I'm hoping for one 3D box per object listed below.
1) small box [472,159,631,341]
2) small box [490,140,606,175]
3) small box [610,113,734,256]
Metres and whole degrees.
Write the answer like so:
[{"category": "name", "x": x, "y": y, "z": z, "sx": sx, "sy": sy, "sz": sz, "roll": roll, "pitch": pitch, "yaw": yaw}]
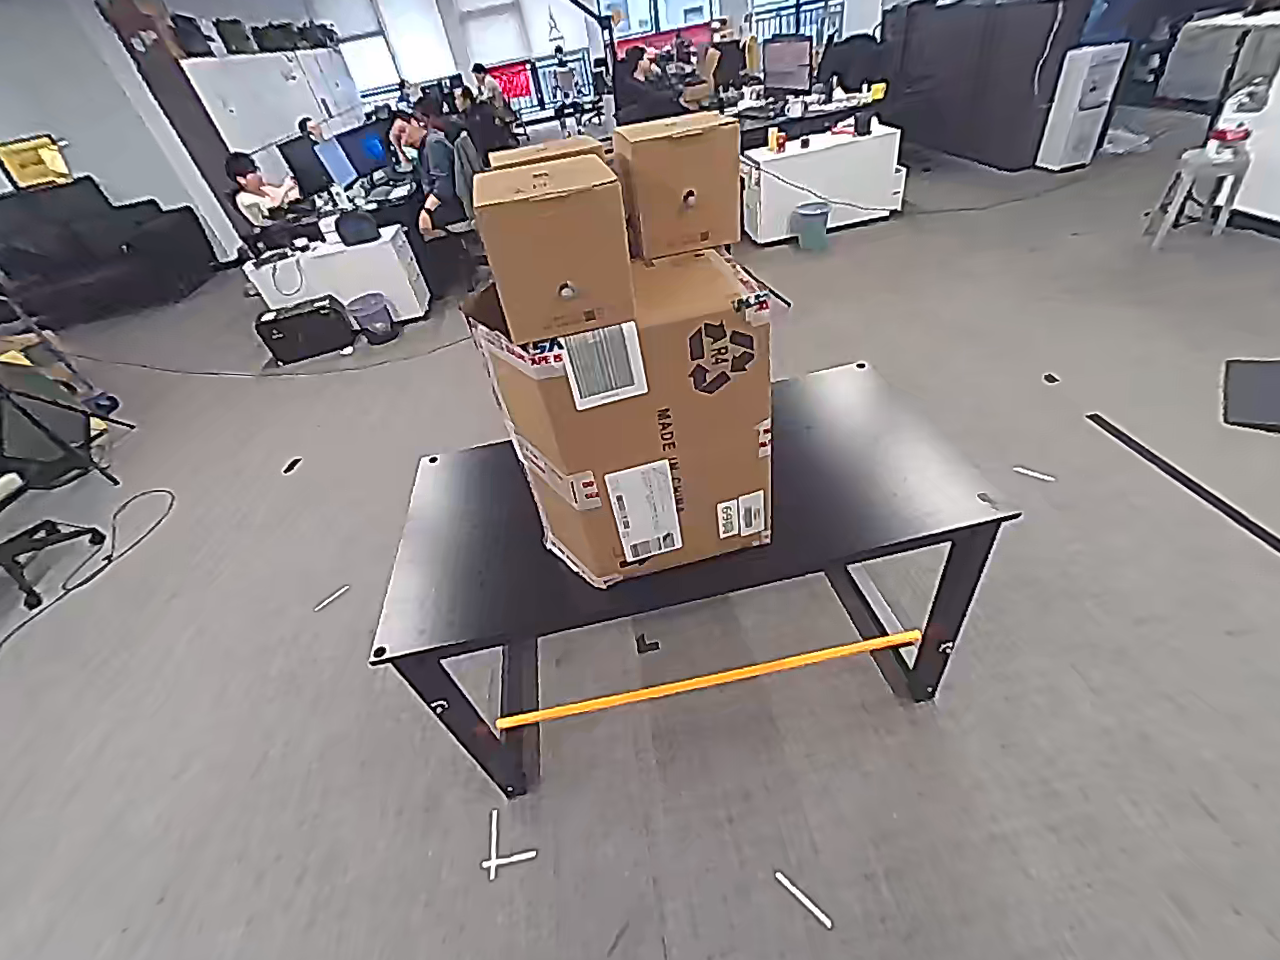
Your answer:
[{"category": "small box", "x": -0.115, "y": -0.306, "z": 0.718, "sx": 0.168, "sy": 0.176, "sz": 0.179, "roll": -14, "pitch": 42, "yaw": -5}, {"category": "small box", "x": -0.142, "y": -0.443, "z": 0.891, "sx": 0.168, "sy": 0.176, "sz": 0.179, "roll": -15, "pitch": 39, "yaw": -6}, {"category": "small box", "x": 0.054, "y": -0.483, "z": 0.891, "sx": 0.168, "sy": 0.176, "sz": 0.179, "roll": -12, "pitch": 40, "yaw": -4}]
